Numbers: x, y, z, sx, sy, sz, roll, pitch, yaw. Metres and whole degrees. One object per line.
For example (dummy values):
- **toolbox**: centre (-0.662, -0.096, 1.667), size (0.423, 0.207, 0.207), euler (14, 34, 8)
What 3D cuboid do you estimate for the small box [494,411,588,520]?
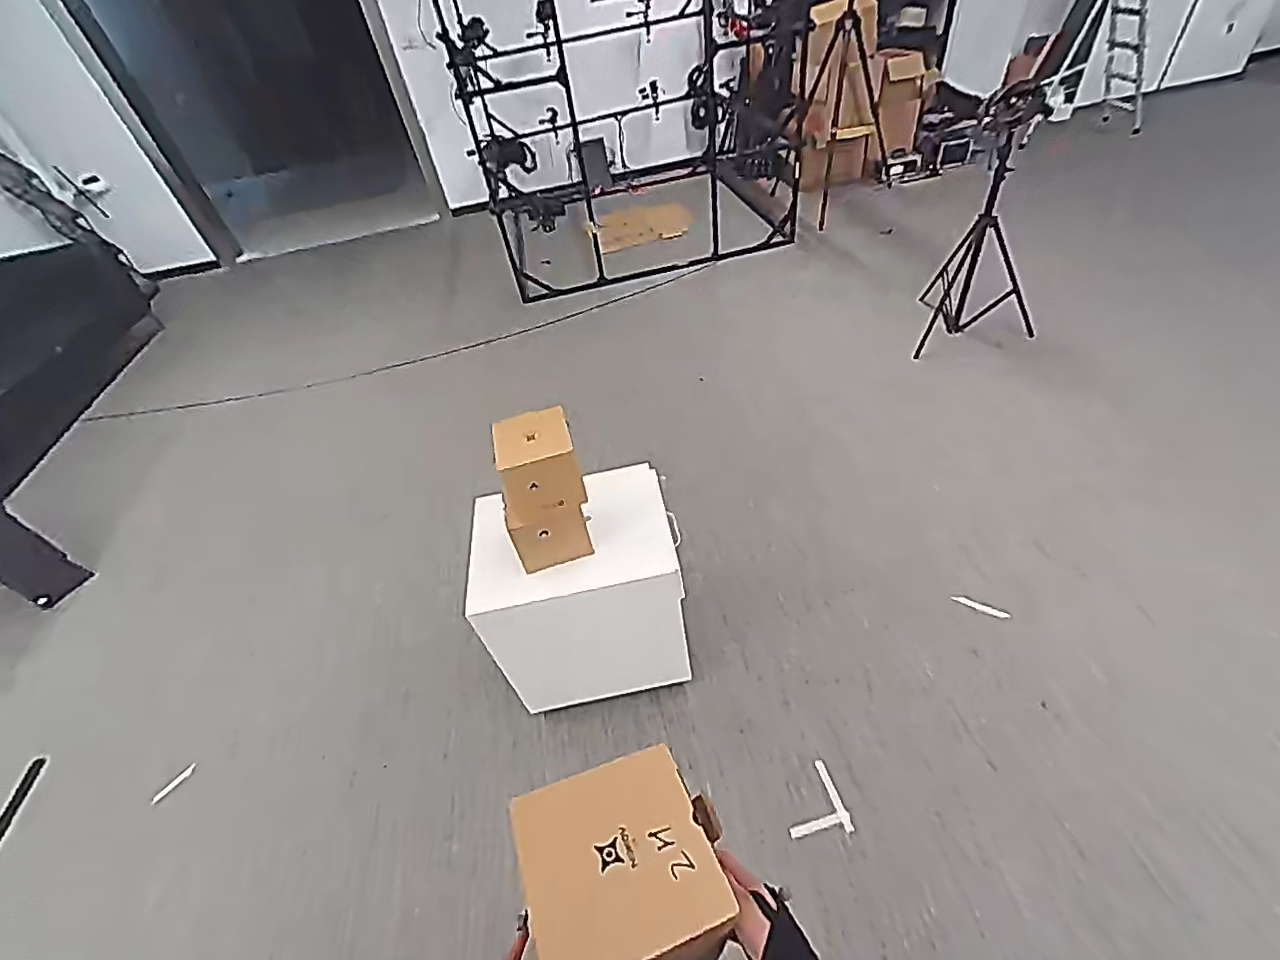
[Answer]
- **small box**: centre (-0.226, -0.027, 1.243), size (0.168, 0.176, 0.179), euler (-16, 43, -6)

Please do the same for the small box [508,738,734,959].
- **small box**: centre (-0.028, 0.409, 0.554), size (0.179, 0.176, 0.168), euler (-10, 38, -20)

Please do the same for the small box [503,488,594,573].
- **small box**: centre (-0.226, 0.106, 1.340), size (0.179, 0.176, 0.168), euler (-16, 44, -7)
